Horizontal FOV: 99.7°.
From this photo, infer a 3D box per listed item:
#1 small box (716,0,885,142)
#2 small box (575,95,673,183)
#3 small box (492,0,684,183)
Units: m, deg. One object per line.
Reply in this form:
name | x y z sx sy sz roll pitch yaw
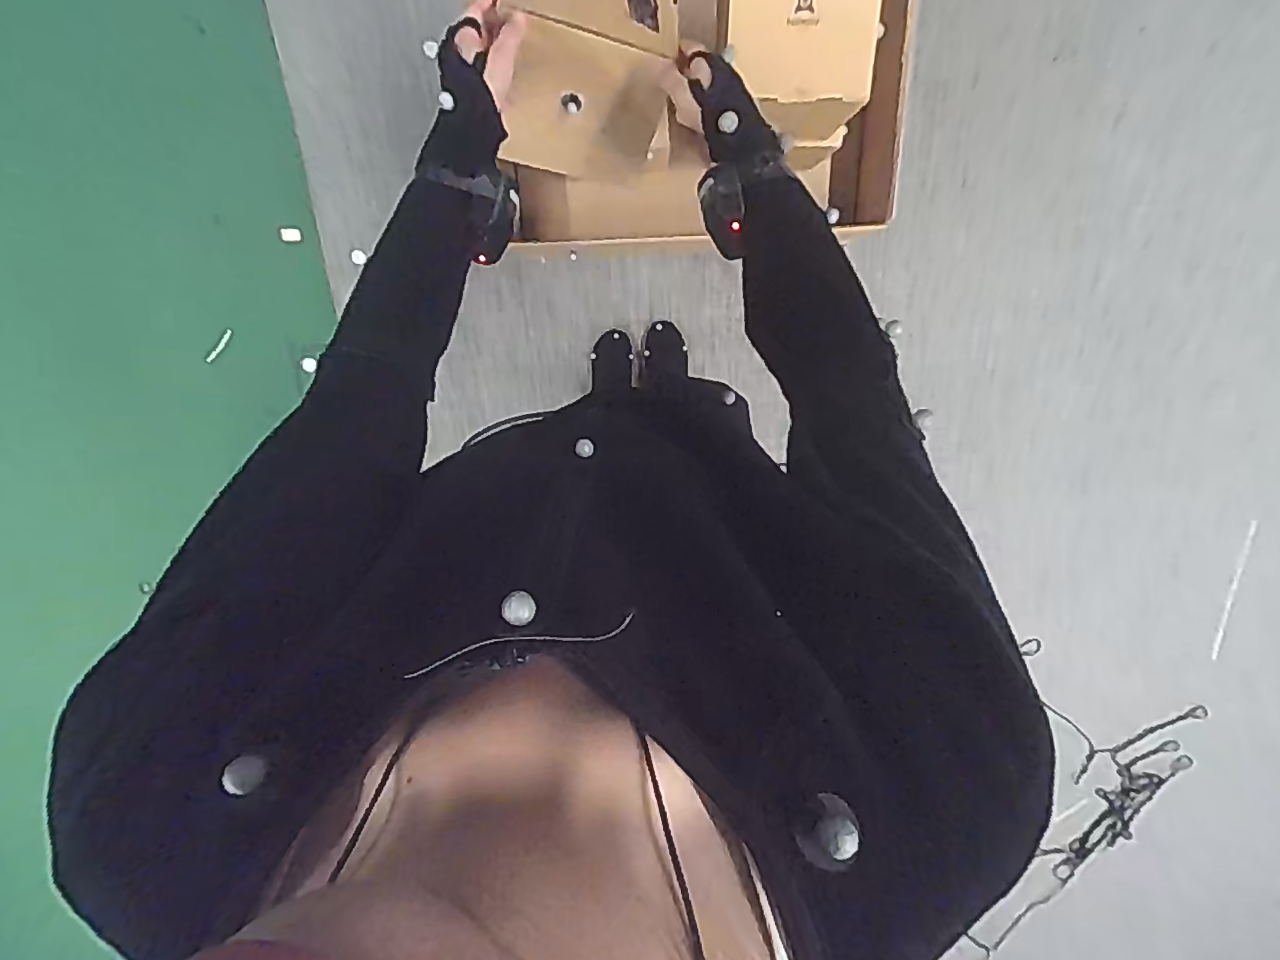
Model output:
small box | 0.185 -0.536 0.660 0.168 0.176 0.179 1 109 2
small box | -0.042 -0.575 0.823 0.168 0.176 0.179 -6 109 3
small box | -0.062 -0.464 0.591 0.179 0.176 0.168 6 72 -14
